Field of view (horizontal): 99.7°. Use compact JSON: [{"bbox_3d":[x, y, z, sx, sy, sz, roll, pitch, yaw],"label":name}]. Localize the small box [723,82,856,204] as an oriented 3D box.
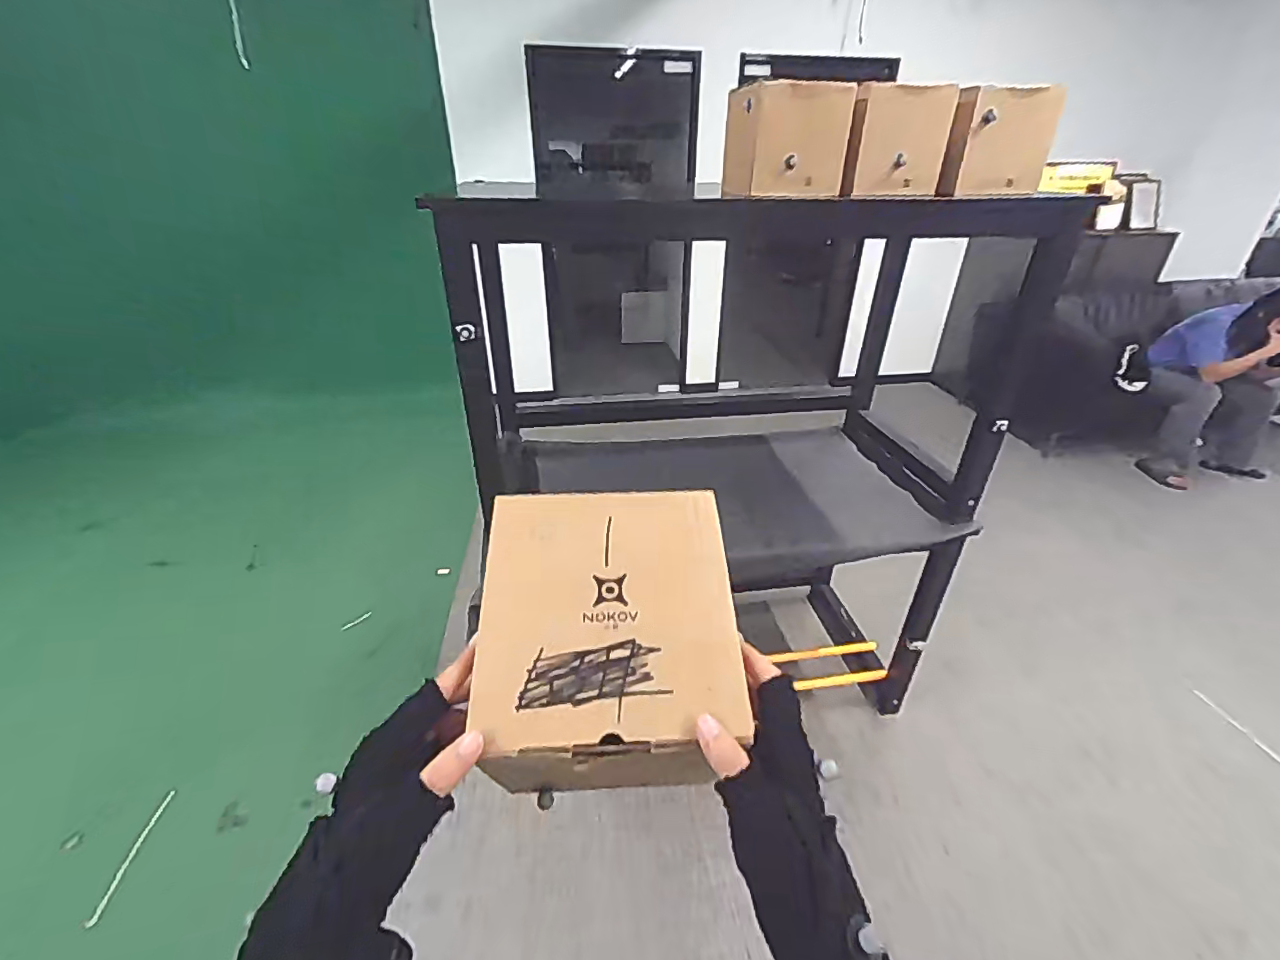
[{"bbox_3d":[0.255,-0.599,0.974,0.168,0.176,0.179,-4,31,-8],"label":"small box"}]
